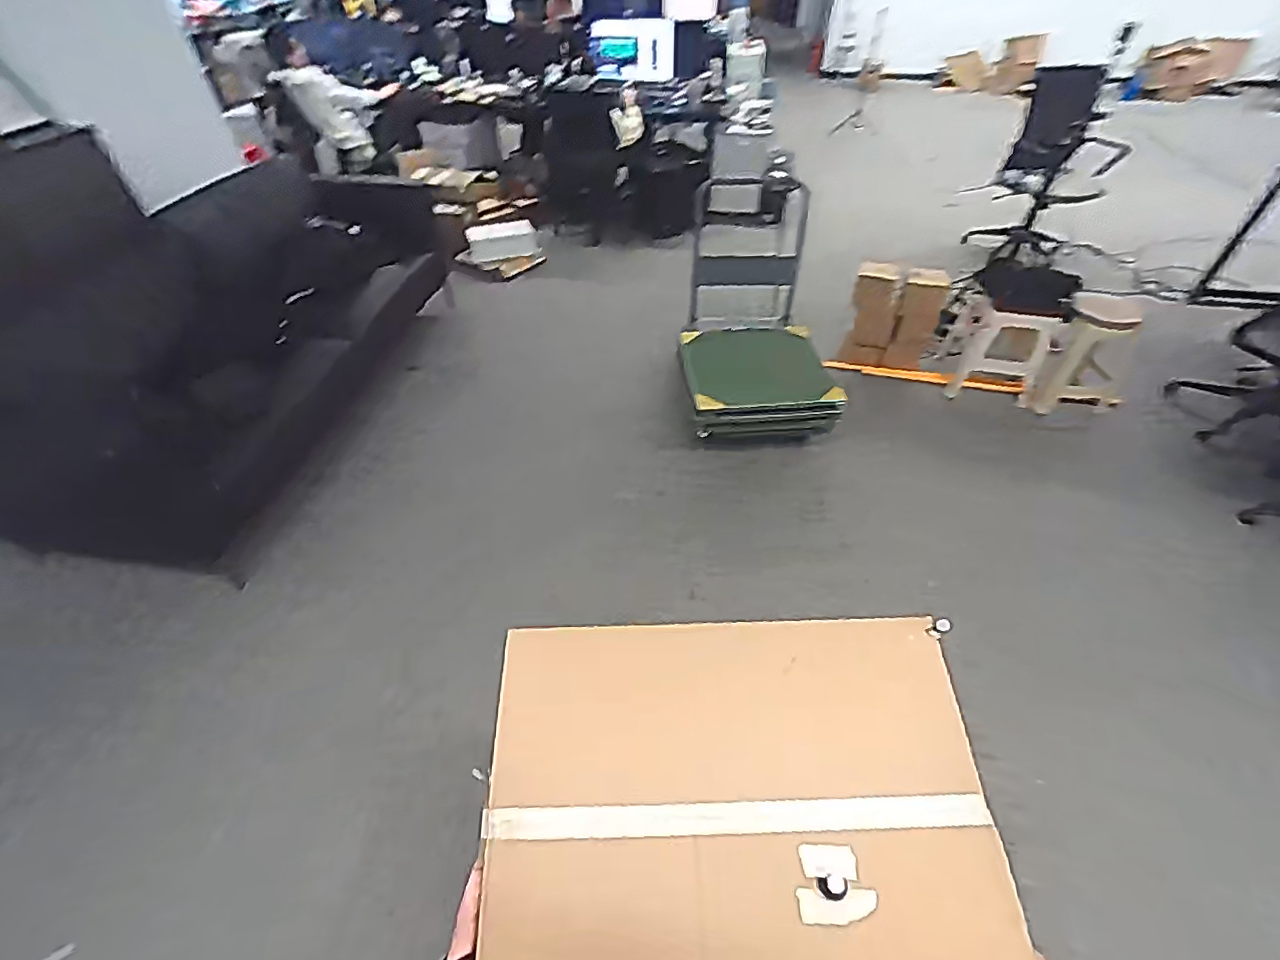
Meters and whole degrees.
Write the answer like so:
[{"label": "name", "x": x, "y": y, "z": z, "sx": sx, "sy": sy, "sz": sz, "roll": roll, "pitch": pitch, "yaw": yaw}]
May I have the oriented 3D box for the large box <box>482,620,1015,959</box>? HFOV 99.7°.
[{"label": "large box", "x": 0.075, "y": 0.354, "z": 0.575, "sx": 0.408, "sy": 0.320, "sz": 0.320, "roll": -2, "pitch": 60, "yaw": 0}]
